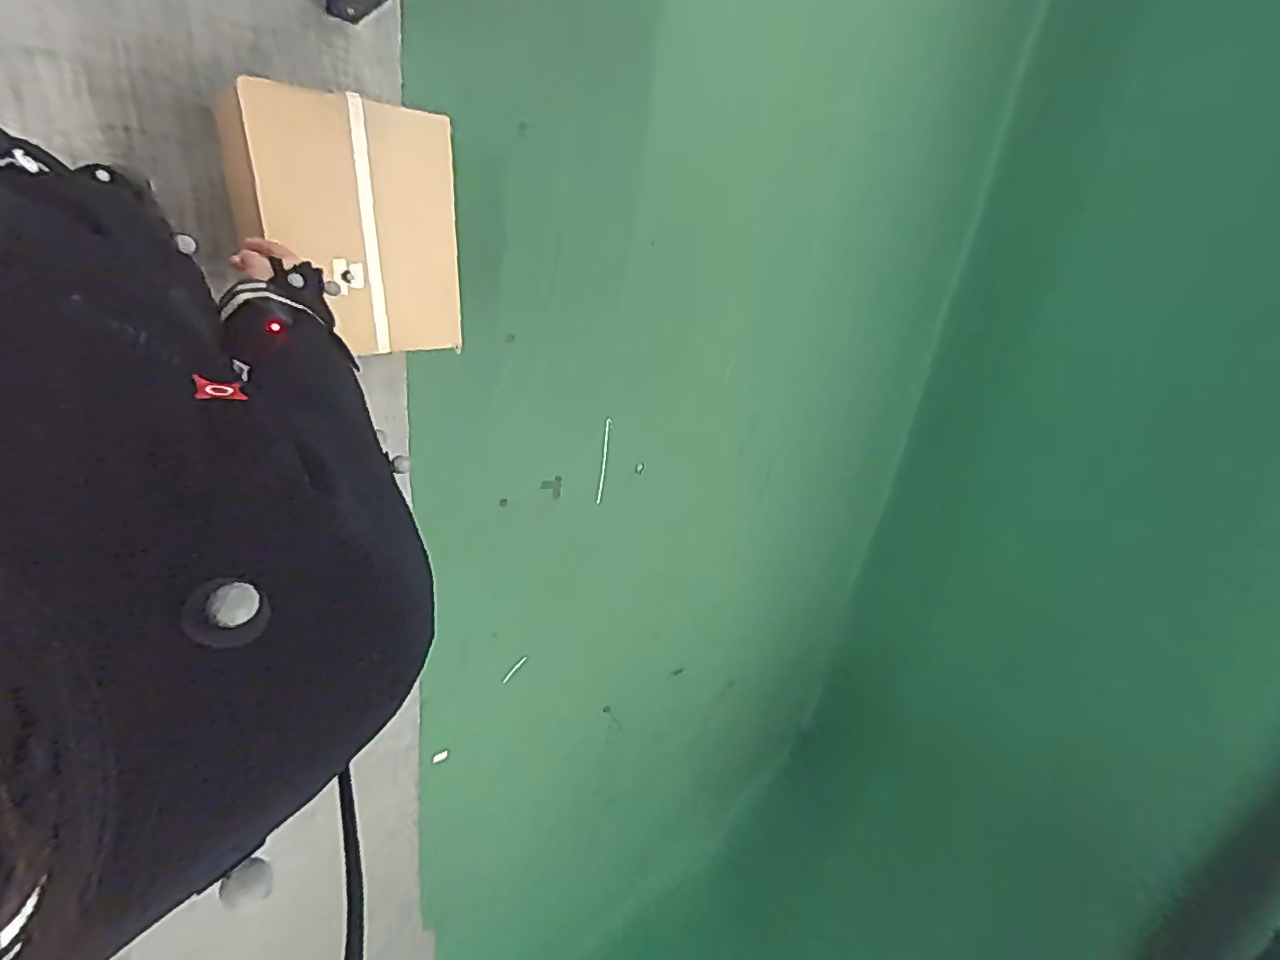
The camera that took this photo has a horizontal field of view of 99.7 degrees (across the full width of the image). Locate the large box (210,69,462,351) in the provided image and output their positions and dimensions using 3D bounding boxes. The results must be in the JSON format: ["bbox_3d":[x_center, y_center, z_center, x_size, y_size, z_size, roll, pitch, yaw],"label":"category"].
[{"bbox_3d":[-0.560,-0.488,1.025,0.320,0.320,0.408,-16,123,-38],"label":"large box"}]
